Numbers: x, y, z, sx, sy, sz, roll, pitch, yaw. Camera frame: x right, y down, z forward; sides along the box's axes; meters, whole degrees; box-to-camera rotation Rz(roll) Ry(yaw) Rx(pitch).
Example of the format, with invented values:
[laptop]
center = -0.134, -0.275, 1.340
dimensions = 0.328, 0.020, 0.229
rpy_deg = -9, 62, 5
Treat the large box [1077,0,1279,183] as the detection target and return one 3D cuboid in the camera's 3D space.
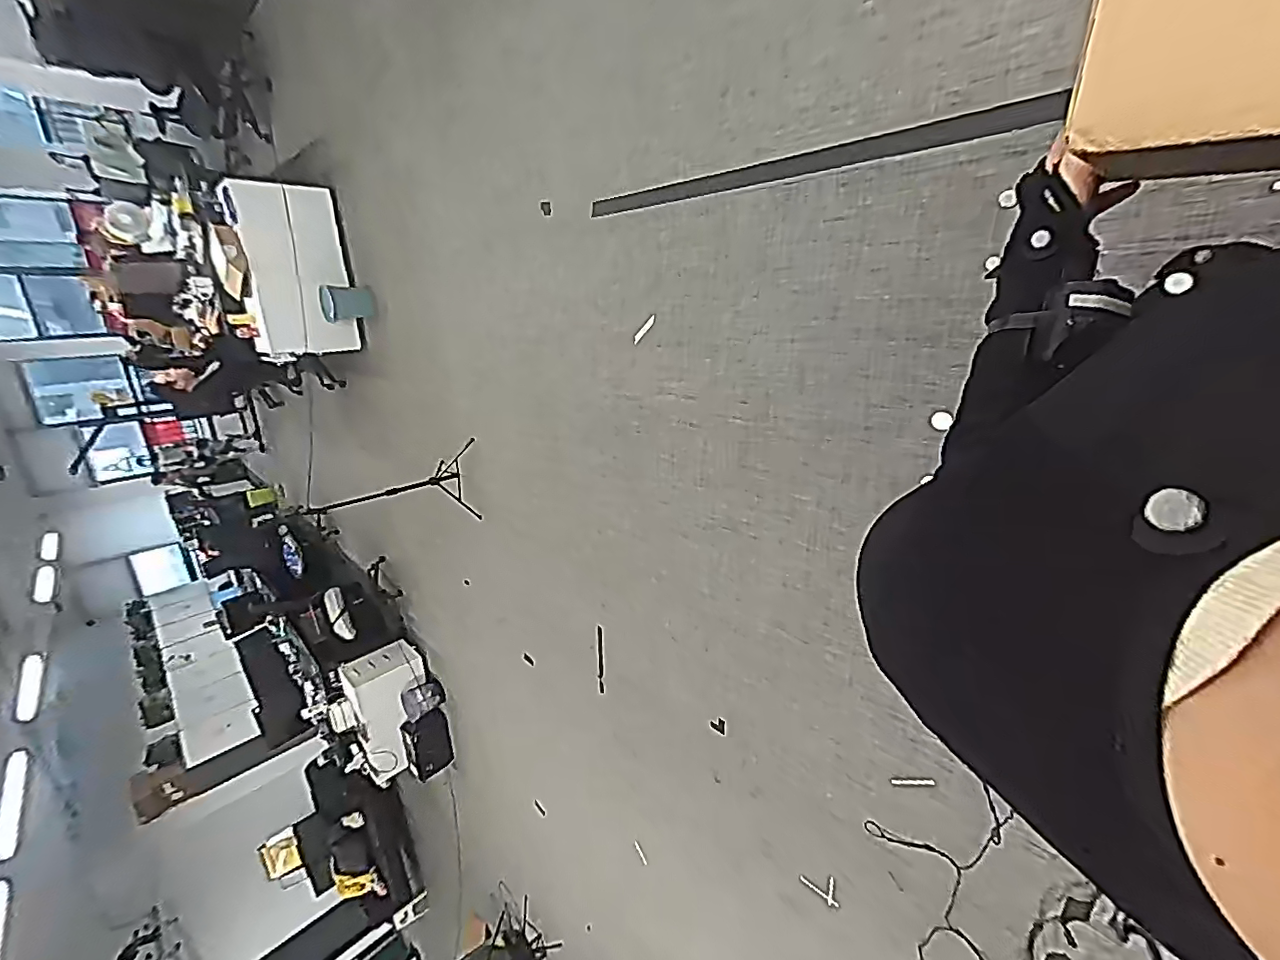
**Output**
[large box]
center = 0.436, -0.302, 0.178
dimensions = 0.408, 0.320, 0.320
rpy_deg = 16, 120, 36
